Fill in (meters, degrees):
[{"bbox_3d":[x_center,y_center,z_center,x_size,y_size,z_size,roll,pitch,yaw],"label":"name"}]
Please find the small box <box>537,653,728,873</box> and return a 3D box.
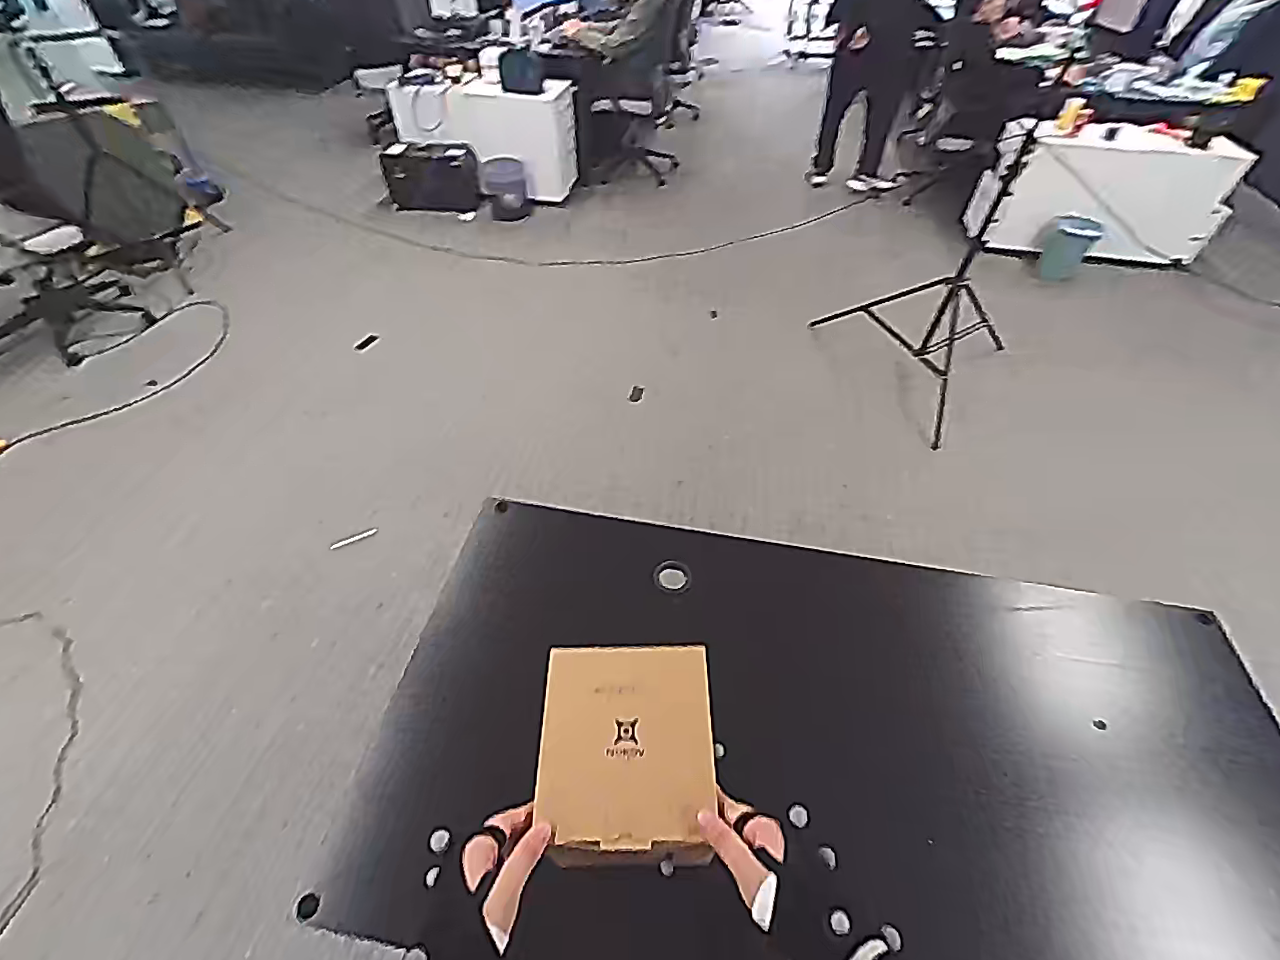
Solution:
[{"bbox_3d":[-0.003,0.299,0.568,0.168,0.176,0.179,-1,48,1],"label":"small box"}]
